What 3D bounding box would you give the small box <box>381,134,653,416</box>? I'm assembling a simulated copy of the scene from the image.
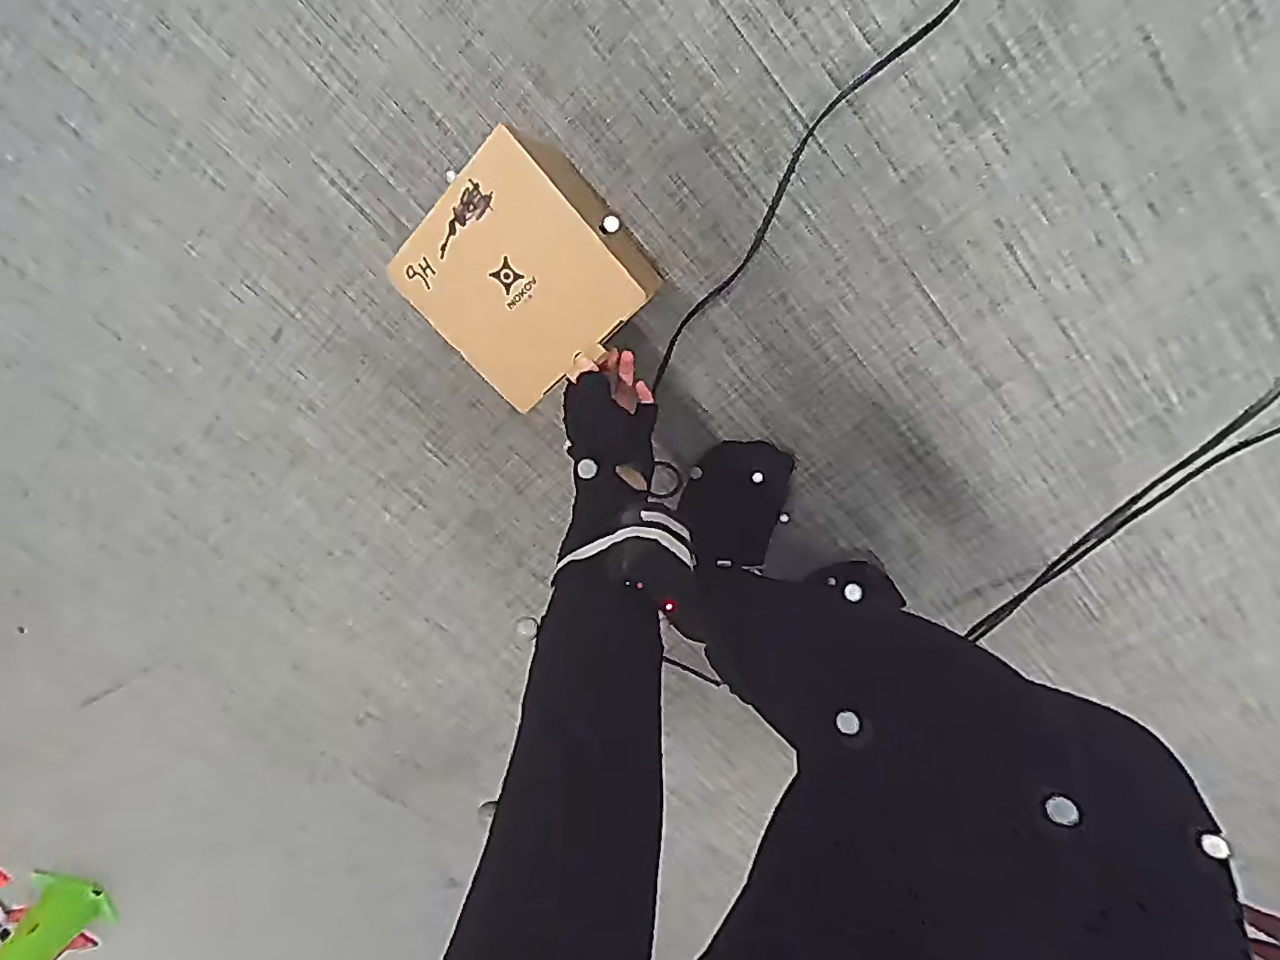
[{"bbox_3d":[-0.103,-0.200,0.537,0.168,0.176,0.179,-37,107,21],"label":"small box"}]
